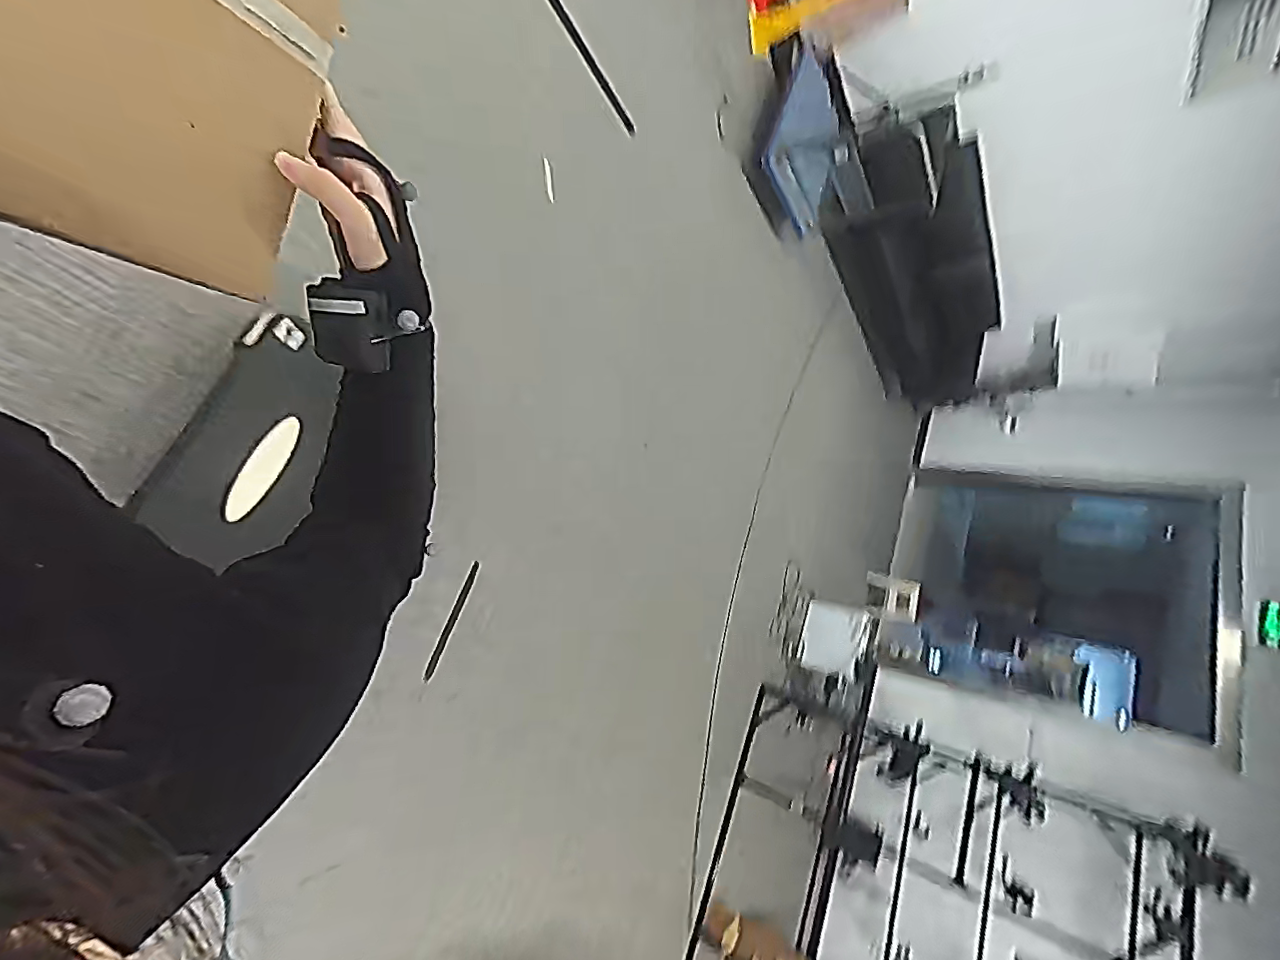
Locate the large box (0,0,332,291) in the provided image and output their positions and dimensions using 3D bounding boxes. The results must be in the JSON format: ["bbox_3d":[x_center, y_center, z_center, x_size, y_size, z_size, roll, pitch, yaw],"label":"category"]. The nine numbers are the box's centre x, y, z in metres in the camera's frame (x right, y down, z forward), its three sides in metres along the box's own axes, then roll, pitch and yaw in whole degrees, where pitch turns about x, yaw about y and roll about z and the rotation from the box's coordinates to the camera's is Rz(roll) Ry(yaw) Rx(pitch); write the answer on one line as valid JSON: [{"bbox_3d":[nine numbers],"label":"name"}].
[{"bbox_3d":[-0.424,-0.326,0.254,0.408,0.320,0.320,9,100,-57],"label":"large box"}]

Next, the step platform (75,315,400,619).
[{"bbox_3d":[-0.854,-0.043,1.216,0.286,0.204,0.684,47,58,-42],"label":"step platform"}]
